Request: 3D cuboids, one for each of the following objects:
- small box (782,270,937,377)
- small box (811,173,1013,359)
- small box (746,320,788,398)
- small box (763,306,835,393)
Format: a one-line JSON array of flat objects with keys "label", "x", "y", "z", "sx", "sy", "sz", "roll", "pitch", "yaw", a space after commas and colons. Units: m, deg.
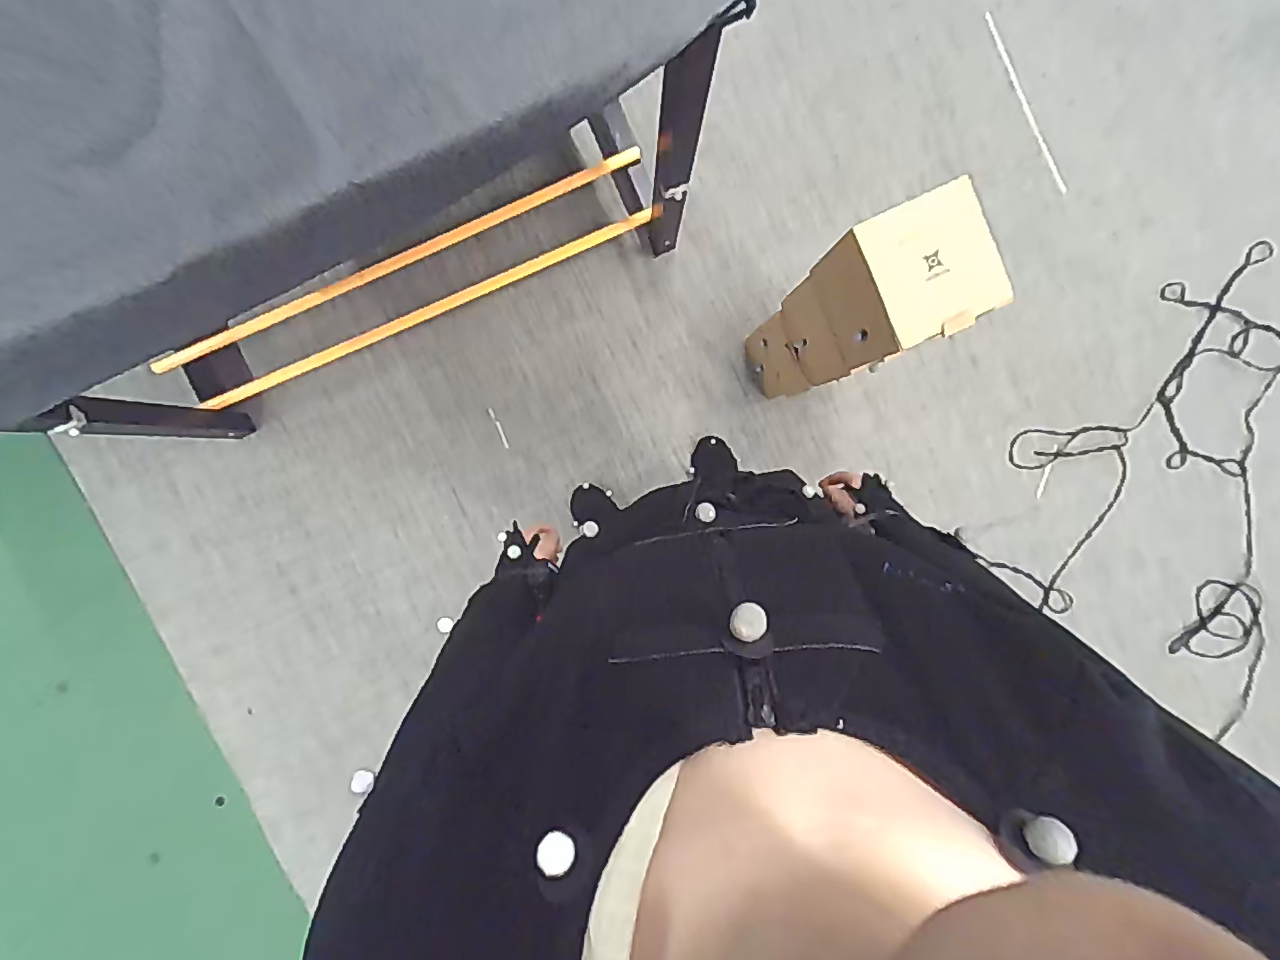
[{"label": "small box", "x": 0.371, "y": -0.289, "z": 0.938, "sx": 0.168, "sy": 0.176, "sz": 0.179, "roll": -24, "pitch": 94, "yaw": -1}, {"label": "small box", "x": 0.374, "y": -0.287, "z": 0.776, "sx": 0.168, "sy": 0.176, "sz": 0.179, "roll": -25, "pitch": 92, "yaw": -1}, {"label": "small box", "x": 0.372, "y": -0.306, "z": 1.265, "sx": 0.179, "sy": 0.176, "sz": 0.168, "roll": -24, "pitch": 92, "yaw": -1}, {"label": "small box", "x": 0.367, "y": -0.290, "z": 1.103, "sx": 0.179, "sy": 0.176, "sz": 0.168, "roll": -26, "pitch": 93, "yaw": -1}]
